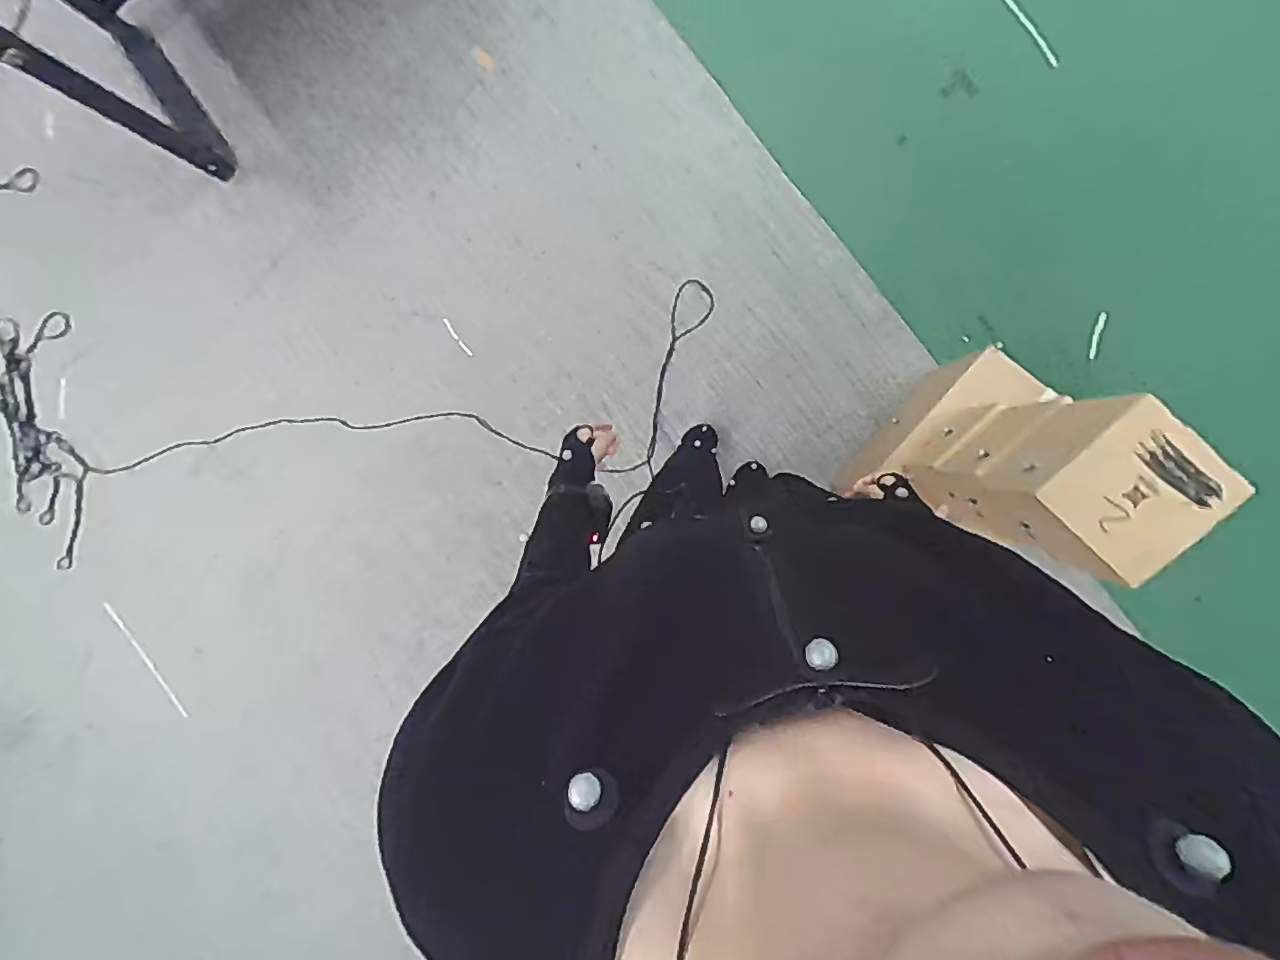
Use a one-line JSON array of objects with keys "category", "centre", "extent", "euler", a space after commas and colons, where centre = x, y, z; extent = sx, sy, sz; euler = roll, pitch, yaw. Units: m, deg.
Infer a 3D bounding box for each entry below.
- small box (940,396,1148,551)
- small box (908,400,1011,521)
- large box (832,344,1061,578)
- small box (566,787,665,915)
[{"category": "small box", "centre": [0.638, -0.013, 0.883], "extent": [0.179, 0.176, 0.168], "euler": [-44, 86, 8]}, {"category": "small box", "centre": [0.658, -0.028, 1.043], "extent": [0.179, 0.176, 0.168], "euler": [45, 98, 4]}, {"category": "large box", "centre": [0.731, -0.040, 1.281], "extent": [0.320, 0.320, 0.408], "euler": [40, 96, 3]}, {"category": "small box", "centre": [-0.047, 0.798, 1.178], "extent": [0.179, 0.176, 0.168], "euler": [-6, 94, 9]}]
